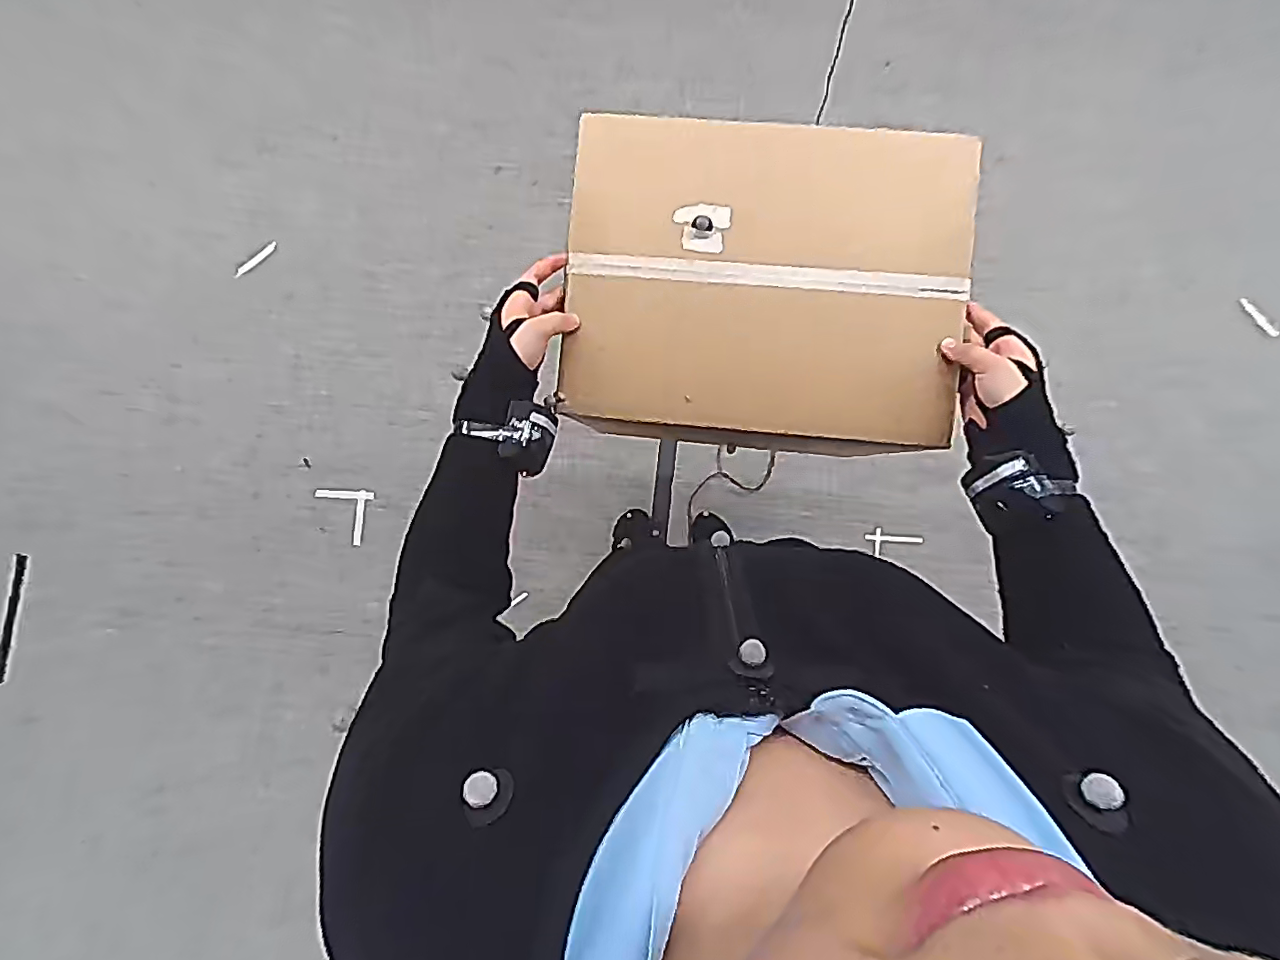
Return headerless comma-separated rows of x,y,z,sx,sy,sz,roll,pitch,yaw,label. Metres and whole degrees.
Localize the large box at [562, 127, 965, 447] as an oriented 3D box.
0.135,-0.212,0.713,0.408,0.320,0.320,5,90,4,large box
